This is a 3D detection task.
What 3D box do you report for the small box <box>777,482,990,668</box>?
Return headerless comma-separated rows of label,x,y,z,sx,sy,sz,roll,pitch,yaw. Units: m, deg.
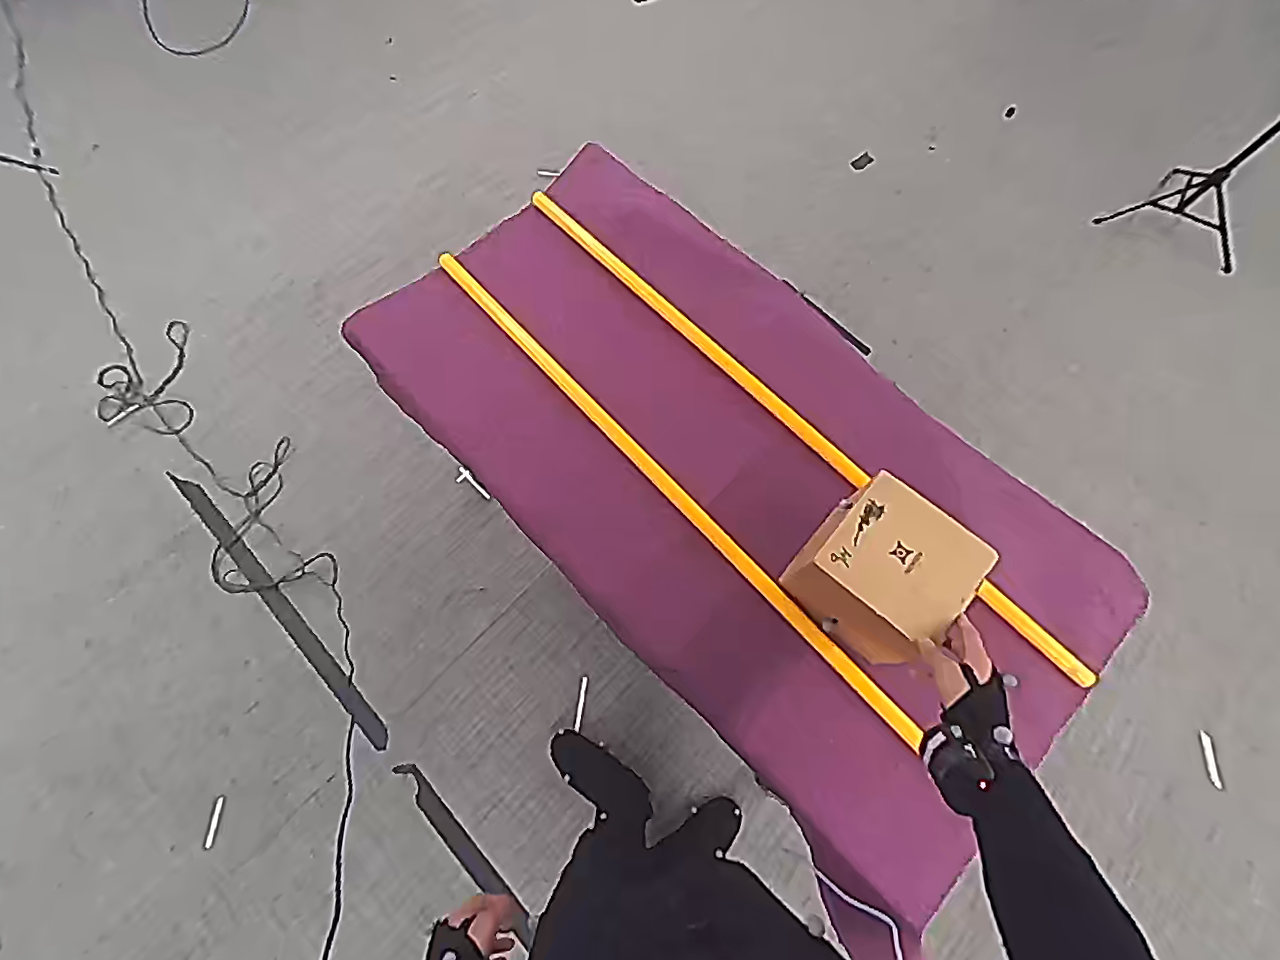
small box,0.322,0.136,0.750,0.179,0.176,0.168,41,74,12
